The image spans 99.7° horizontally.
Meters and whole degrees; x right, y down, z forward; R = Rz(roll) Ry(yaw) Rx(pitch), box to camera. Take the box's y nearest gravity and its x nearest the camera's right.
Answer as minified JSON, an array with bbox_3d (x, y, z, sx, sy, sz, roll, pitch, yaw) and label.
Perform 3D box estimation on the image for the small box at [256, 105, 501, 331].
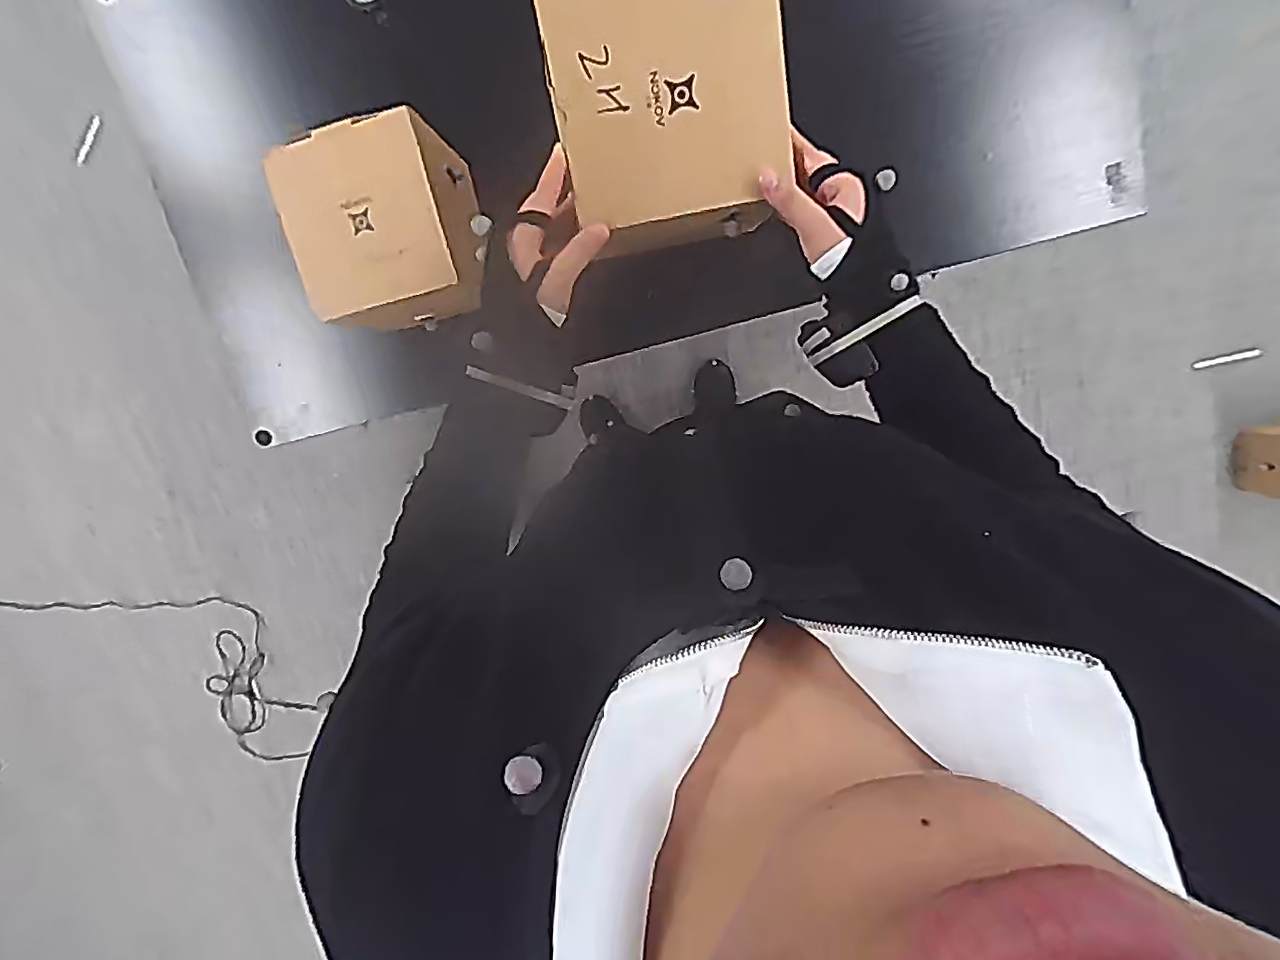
[{"bbox_3d":[-0.281,-0.281,0.625,0.168,0.176,0.179,-13,101,6],"label":"small box"}]

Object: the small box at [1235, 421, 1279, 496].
[{"bbox_3d":[1.626,-0.054,1.322,0.179,0.176,0.168,-11,101,6],"label":"small box"}]
